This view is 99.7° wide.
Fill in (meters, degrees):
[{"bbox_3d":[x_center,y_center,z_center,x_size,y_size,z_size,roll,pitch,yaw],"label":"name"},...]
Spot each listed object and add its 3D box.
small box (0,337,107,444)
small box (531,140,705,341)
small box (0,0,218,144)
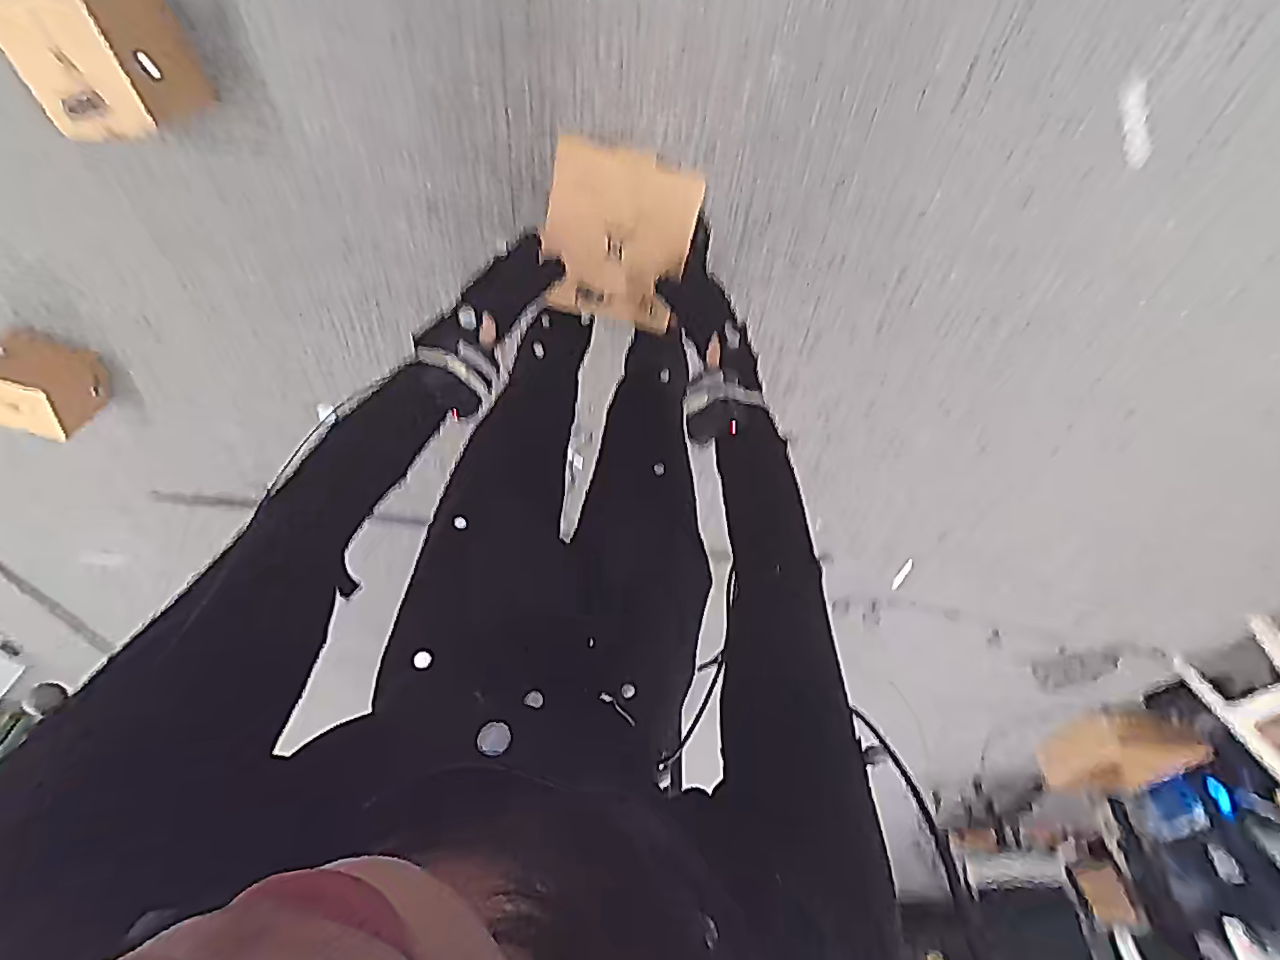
[{"bbox_3d":[-1.465,-0.220,1.307,0.179,0.176,0.168,17,134,-15],"label":"small box"},{"bbox_3d":[-0.036,-0.297,0.679,0.168,0.176,0.179,11,116,-12],"label":"small box"},{"bbox_3d":[-0.833,-0.658,0.857,0.168,0.176,0.179,-2,133,5],"label":"small box"}]
